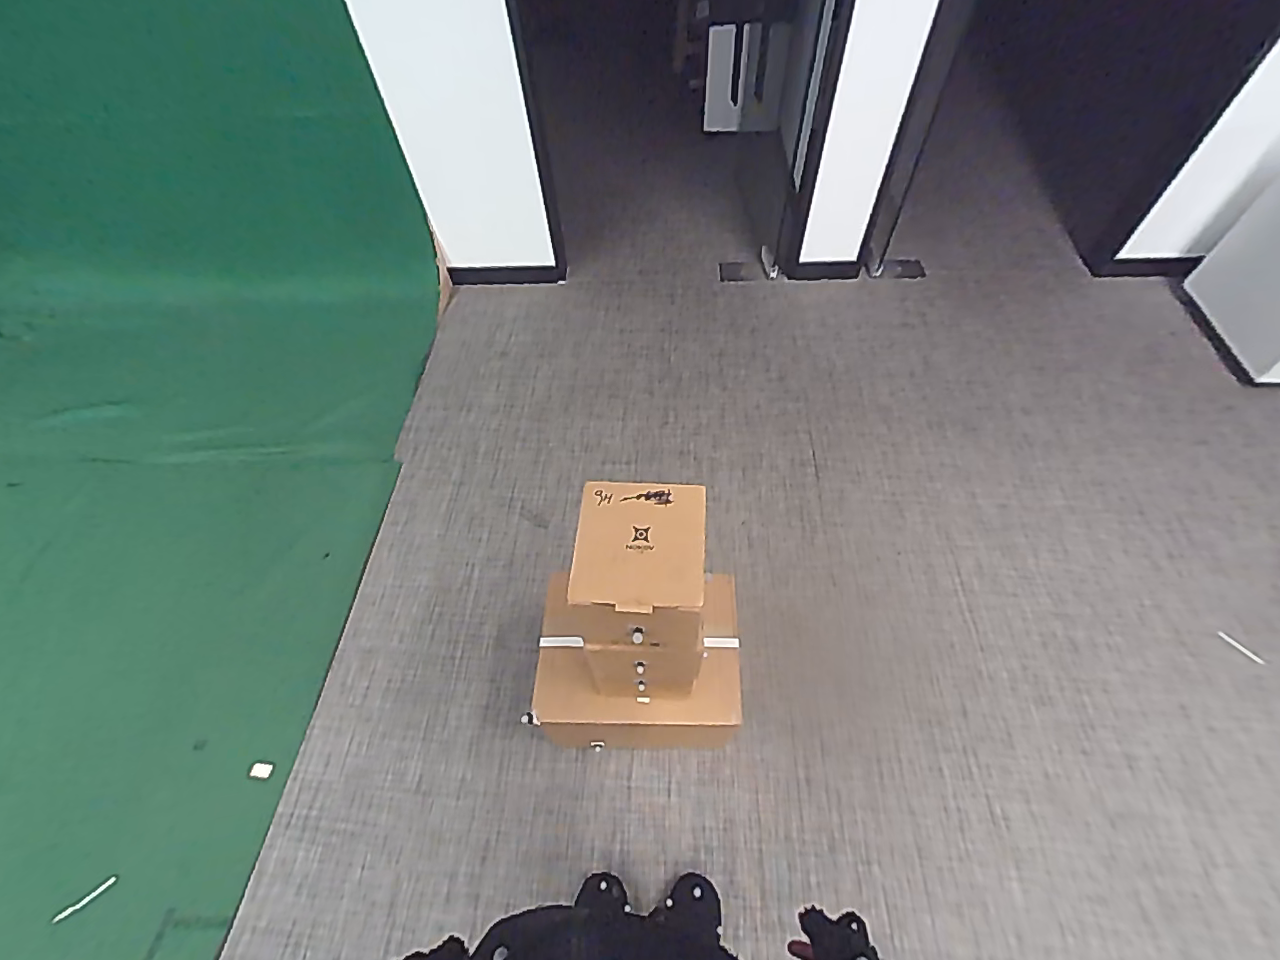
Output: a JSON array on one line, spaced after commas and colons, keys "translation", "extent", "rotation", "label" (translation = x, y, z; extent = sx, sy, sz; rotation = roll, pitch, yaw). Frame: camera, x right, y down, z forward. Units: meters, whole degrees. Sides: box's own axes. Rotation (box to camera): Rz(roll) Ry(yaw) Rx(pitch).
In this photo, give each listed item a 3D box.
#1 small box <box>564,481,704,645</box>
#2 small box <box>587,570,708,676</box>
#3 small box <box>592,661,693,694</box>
[{"translation": [0.002, 0.120, 0.752], "extent": [0.168, 0.176, 0.179], "rotation": [3, 58, 6], "label": "small box"}, {"translation": [0.011, 0.217, 0.884], "extent": [0.179, 0.176, 0.168], "rotation": [-2, 57, 1], "label": "small box"}, {"translation": [0.012, 0.302, 1.024], "extent": [0.179, 0.176, 0.168], "rotation": [2, 58, 3], "label": "small box"}]
